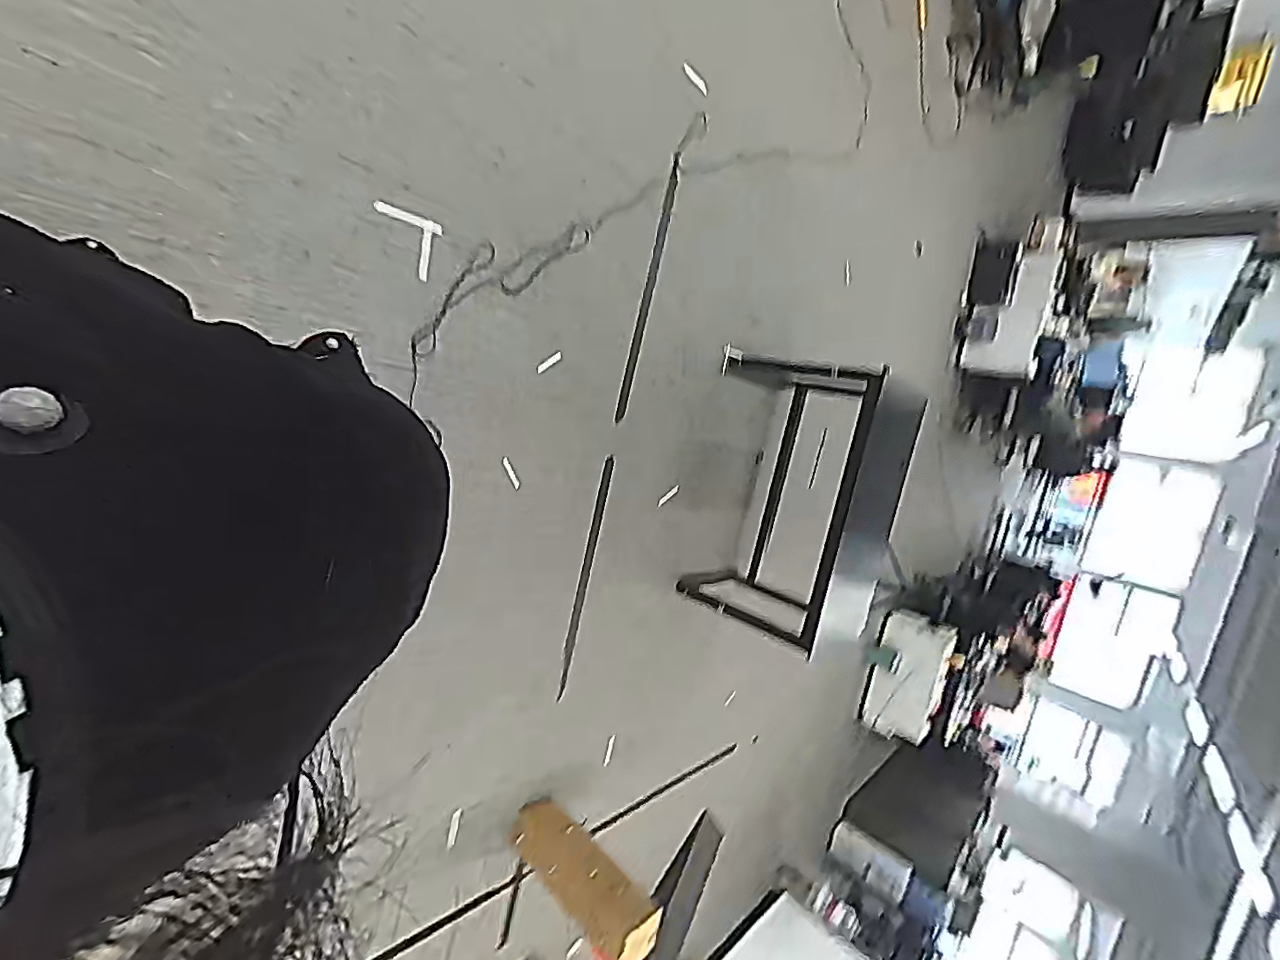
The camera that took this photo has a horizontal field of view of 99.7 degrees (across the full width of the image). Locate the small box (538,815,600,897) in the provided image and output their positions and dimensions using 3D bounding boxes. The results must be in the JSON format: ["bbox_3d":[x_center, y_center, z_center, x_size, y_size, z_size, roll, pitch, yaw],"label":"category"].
[{"bbox_3d":[-0.286,1.486,2.147,0.168,0.176,0.179,5,98,-49],"label":"small box"}]

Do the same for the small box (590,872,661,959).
[{"bbox_3d":[-0.055,1.562,1.930,0.179,0.176,0.168,4,100,-47],"label":"small box"}]

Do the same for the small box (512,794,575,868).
[{"bbox_3d":[-0.404,1.455,2.258,0.179,0.176,0.168,5,98,-48],"label":"small box"}]

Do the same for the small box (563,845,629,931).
[{"bbox_3d":[-0.171,1.523,2.040,0.168,0.176,0.179,4,100,-47],"label":"small box"}]
